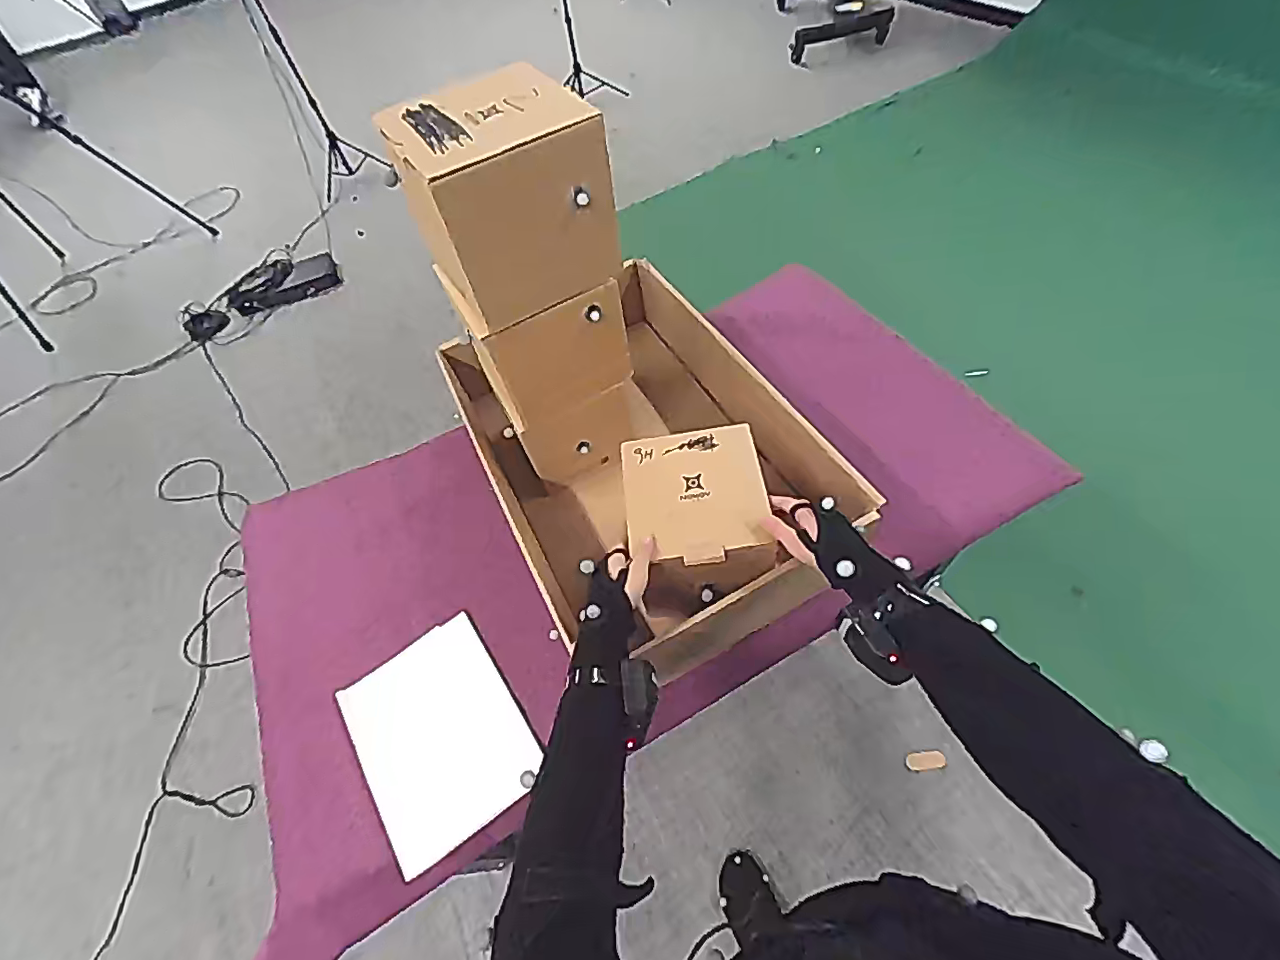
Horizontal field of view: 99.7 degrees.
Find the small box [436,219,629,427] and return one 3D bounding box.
[{"bbox_3d":[-0.132,-0.201,0.714,0.179,0.176,0.168,-29,58,-12],"label":"small box"}]

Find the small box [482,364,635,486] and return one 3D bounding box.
[{"bbox_3d":[-0.120,-0.113,0.849,0.168,0.176,0.179,-27,58,-10],"label":"small box"}]
